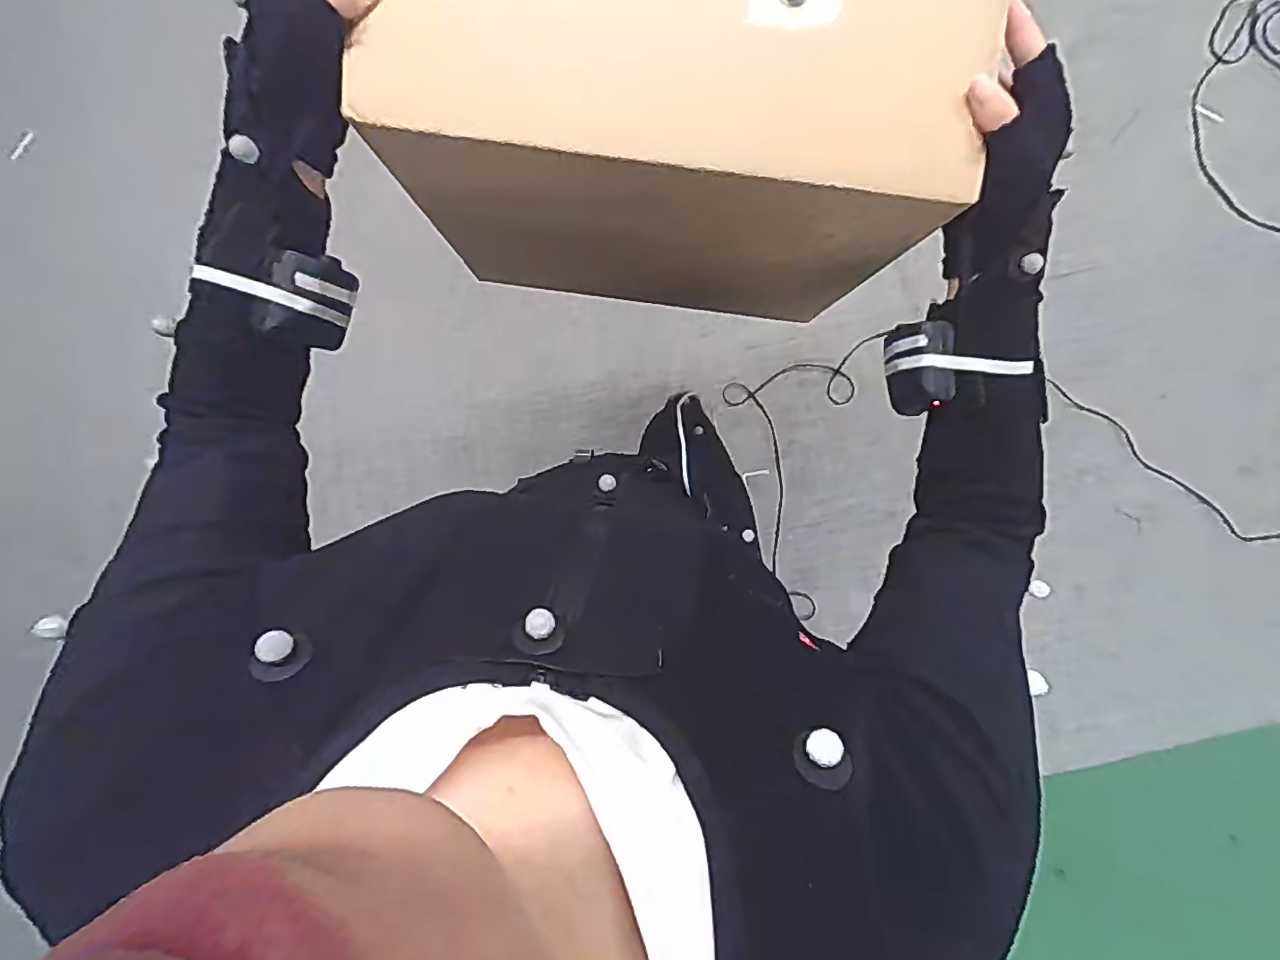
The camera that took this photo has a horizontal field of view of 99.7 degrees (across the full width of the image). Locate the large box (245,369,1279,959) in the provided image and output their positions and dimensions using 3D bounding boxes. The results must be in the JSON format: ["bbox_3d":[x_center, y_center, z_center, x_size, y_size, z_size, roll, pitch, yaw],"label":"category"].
[{"bbox_3d":[0.113,0.193,0.319,0.320,0.320,0.408,19,56,33],"label":"large box"}]
